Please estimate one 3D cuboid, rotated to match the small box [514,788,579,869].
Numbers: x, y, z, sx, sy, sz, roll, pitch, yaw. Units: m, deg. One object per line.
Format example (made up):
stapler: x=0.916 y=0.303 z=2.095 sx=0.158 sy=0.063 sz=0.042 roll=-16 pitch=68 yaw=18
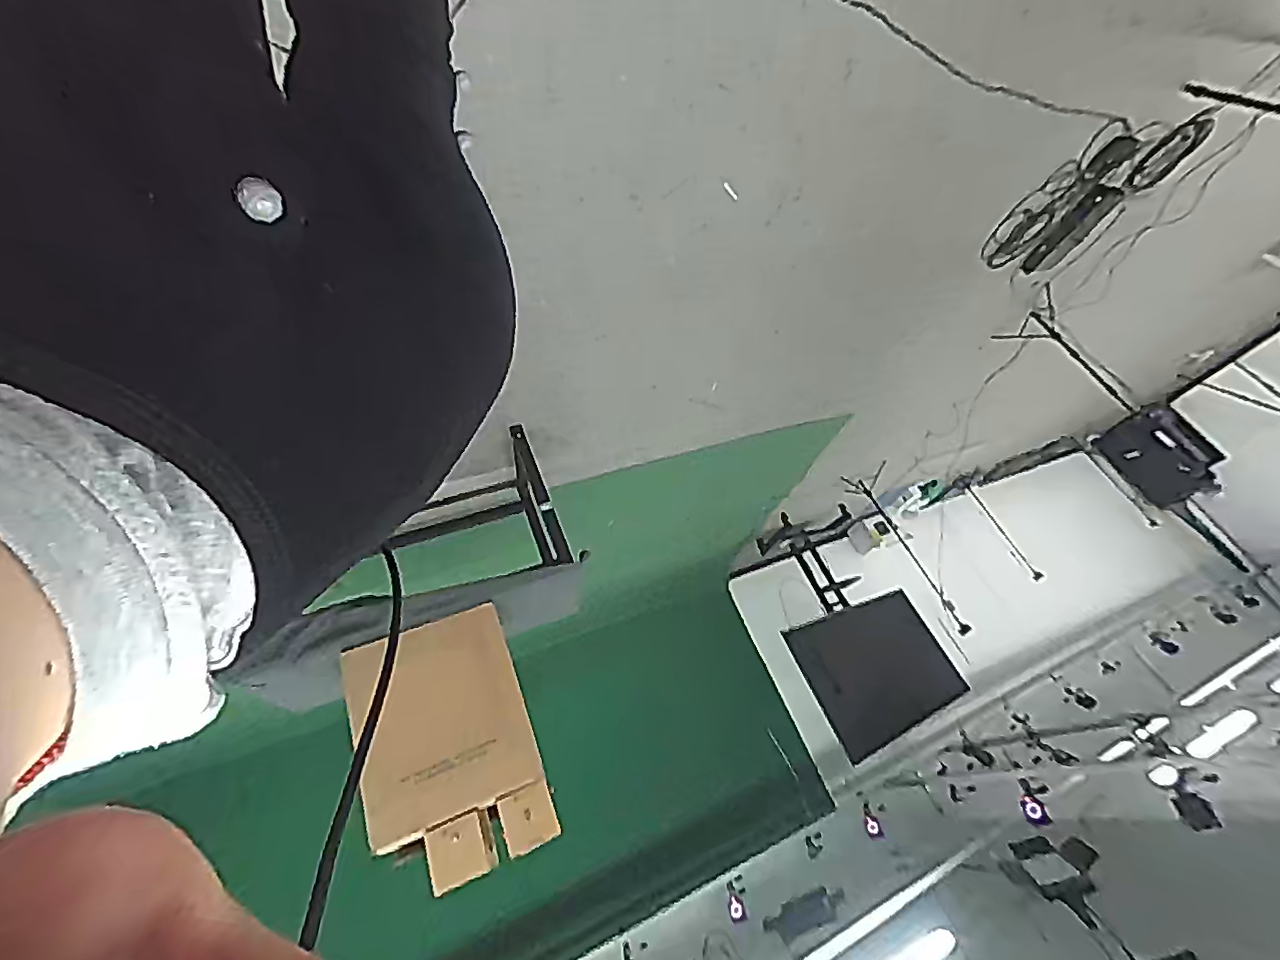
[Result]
small box: x=-0.306 y=1.130 z=1.764 sx=0.168 sy=0.176 sz=0.179 roll=-18 pitch=152 yaw=-19
